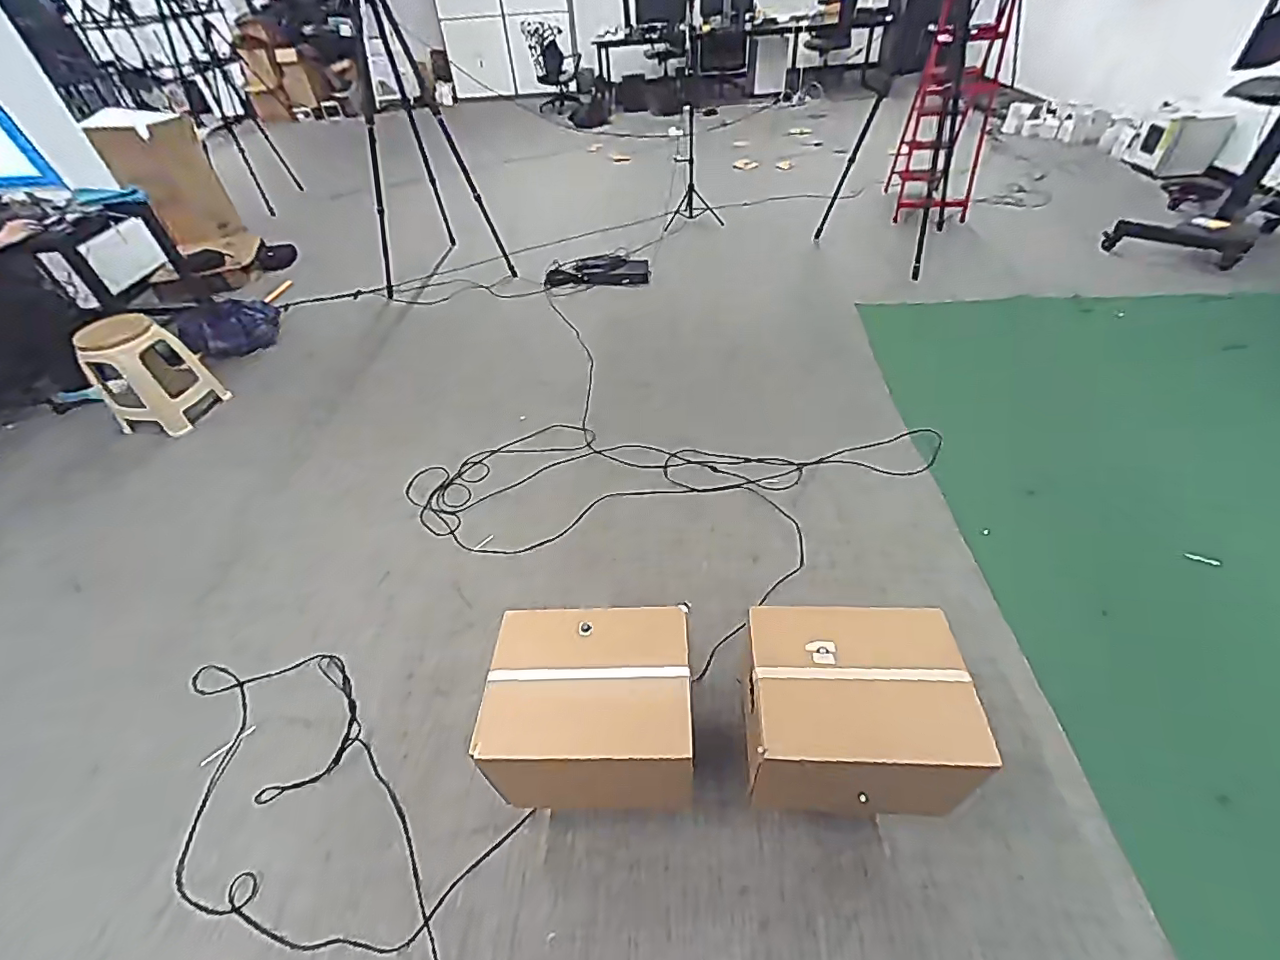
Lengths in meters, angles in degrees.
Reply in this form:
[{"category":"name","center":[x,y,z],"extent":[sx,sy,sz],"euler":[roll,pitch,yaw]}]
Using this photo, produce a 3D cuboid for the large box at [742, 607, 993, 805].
[{"category":"large box","center":[0.440,0.487,1.165],"extent":[0.408,0.320,0.320],"euler":[-1,45,6]}]
